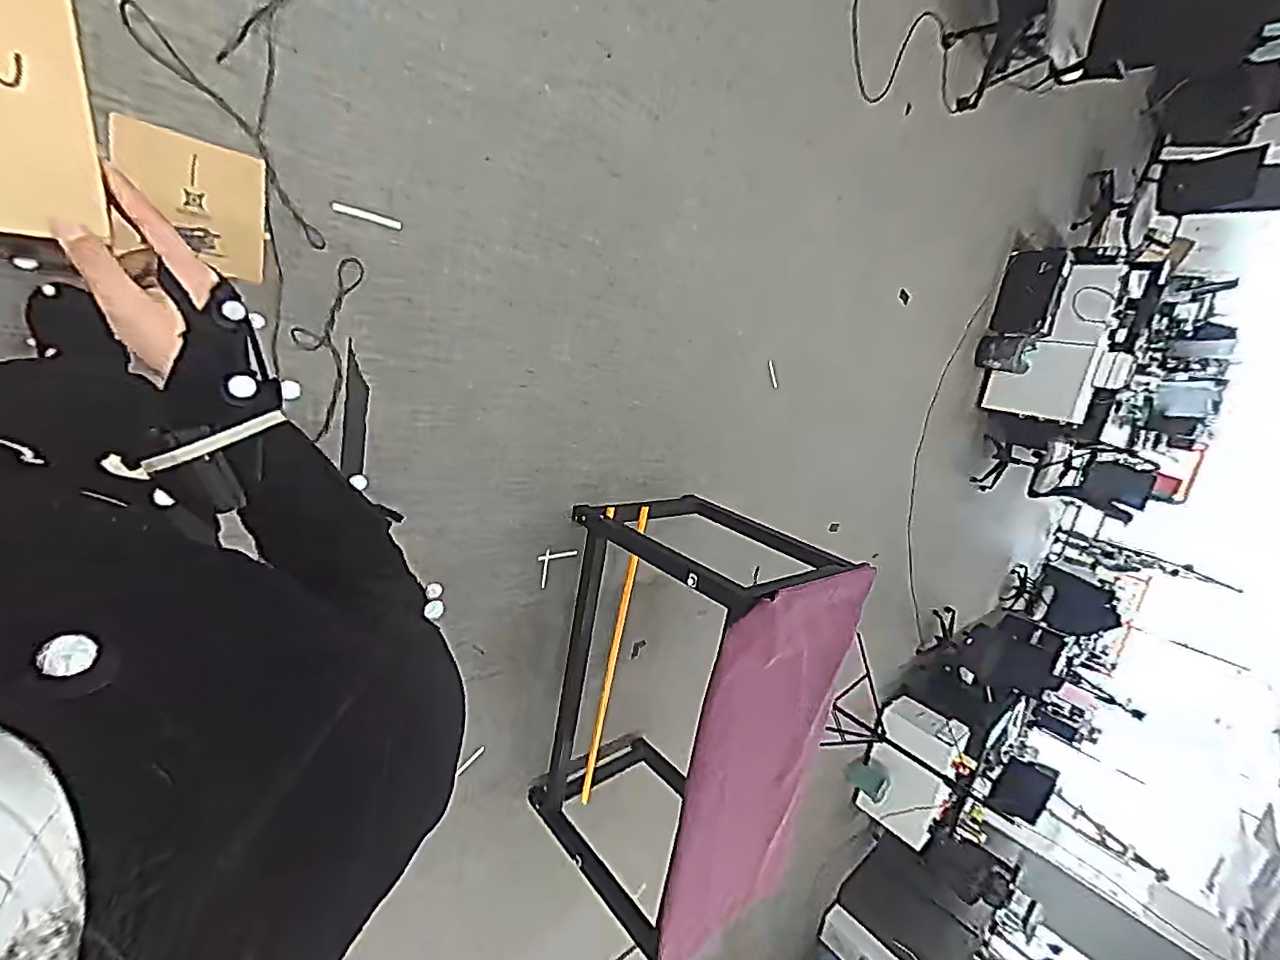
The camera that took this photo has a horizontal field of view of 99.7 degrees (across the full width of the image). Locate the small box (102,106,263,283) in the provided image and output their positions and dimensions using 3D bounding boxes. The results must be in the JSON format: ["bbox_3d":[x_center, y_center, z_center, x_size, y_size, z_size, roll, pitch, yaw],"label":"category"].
[{"bbox_3d":[-0.666,-0.398,0.790,0.168,0.176,0.179,-1,106,-43],"label":"small box"}]
